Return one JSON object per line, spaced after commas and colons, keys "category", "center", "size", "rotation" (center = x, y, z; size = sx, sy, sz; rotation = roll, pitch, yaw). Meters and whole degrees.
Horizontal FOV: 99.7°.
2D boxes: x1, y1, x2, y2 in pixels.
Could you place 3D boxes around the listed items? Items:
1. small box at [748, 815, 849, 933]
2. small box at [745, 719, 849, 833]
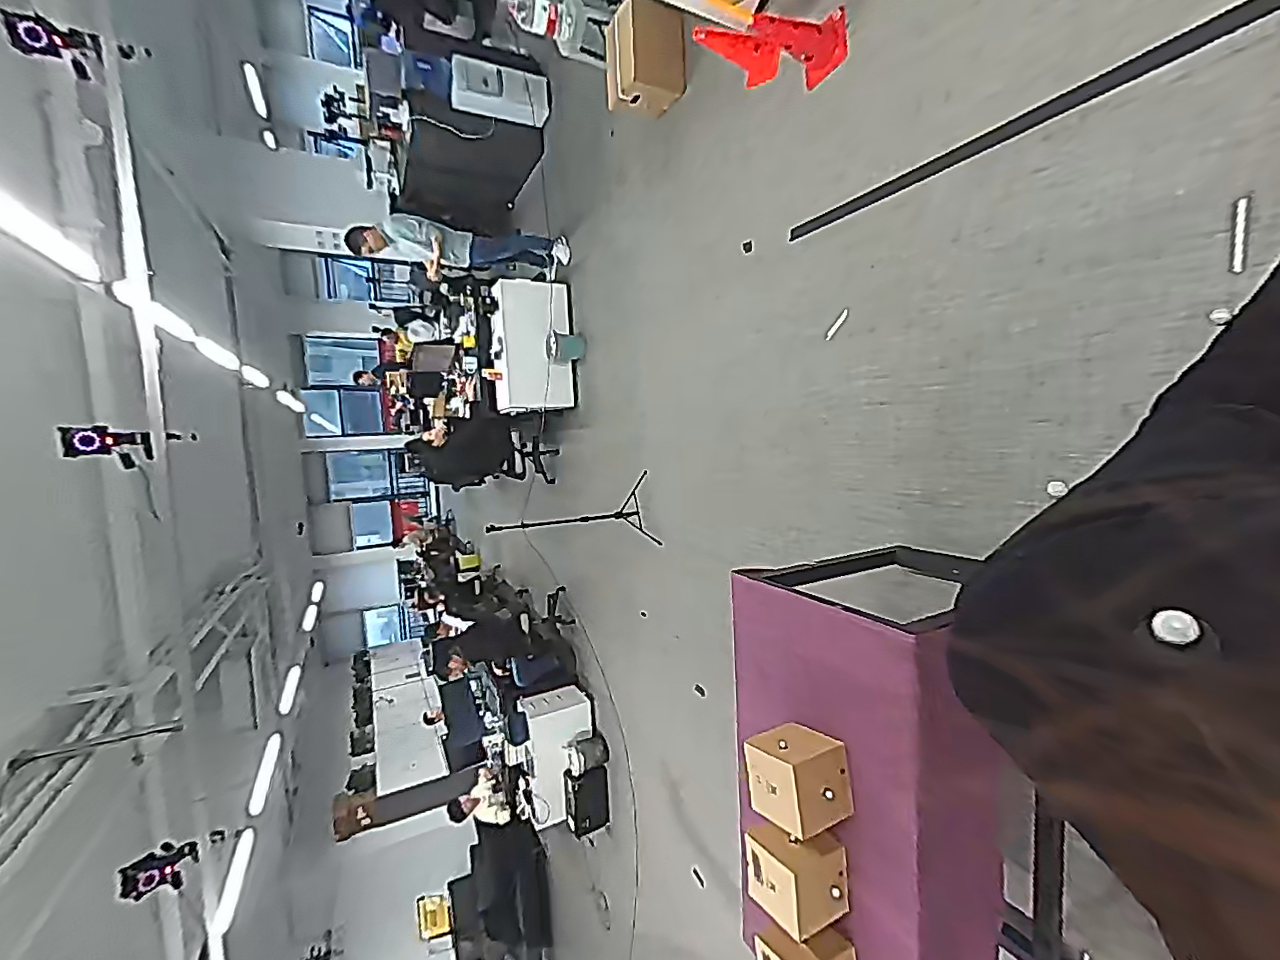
{"category": "small box", "center": [0.392, 0.954, 1.345], "size": [0.179, 0.176, 0.168], "rotation": [-1, 95, 62]}
{"category": "small box", "center": [0.384, 0.703, 1.310], "size": [0.179, 0.176, 0.168], "rotation": [-12, 84, 63]}
